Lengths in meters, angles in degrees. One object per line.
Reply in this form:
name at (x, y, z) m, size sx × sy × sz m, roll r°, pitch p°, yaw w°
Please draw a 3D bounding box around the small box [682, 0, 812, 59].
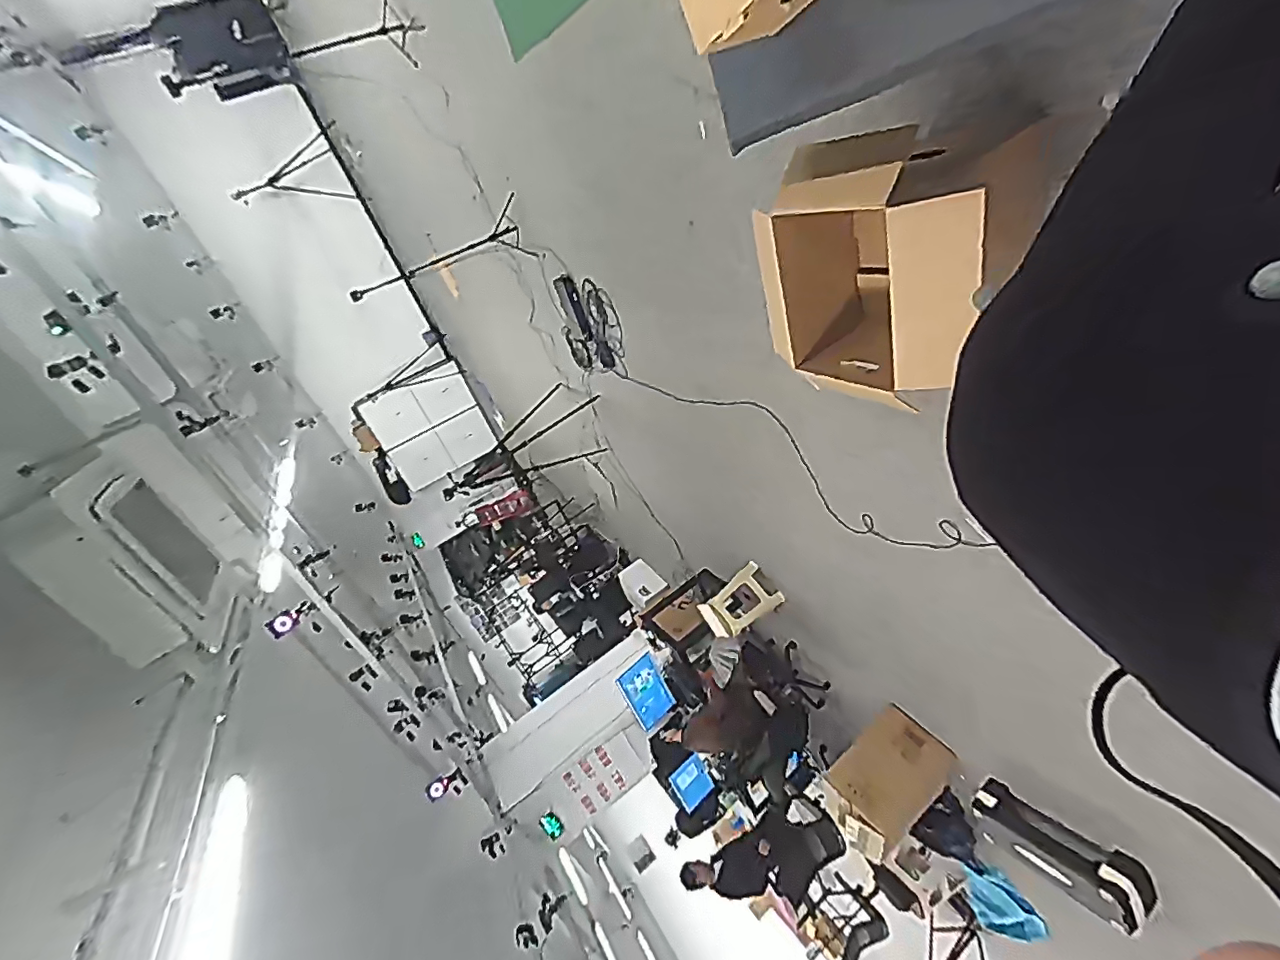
small box at (0.163, -0.753, 0.765) m, size 0.168 × 0.176 × 0.179 m, roll 14°, pitch 132°, yaw 62°
